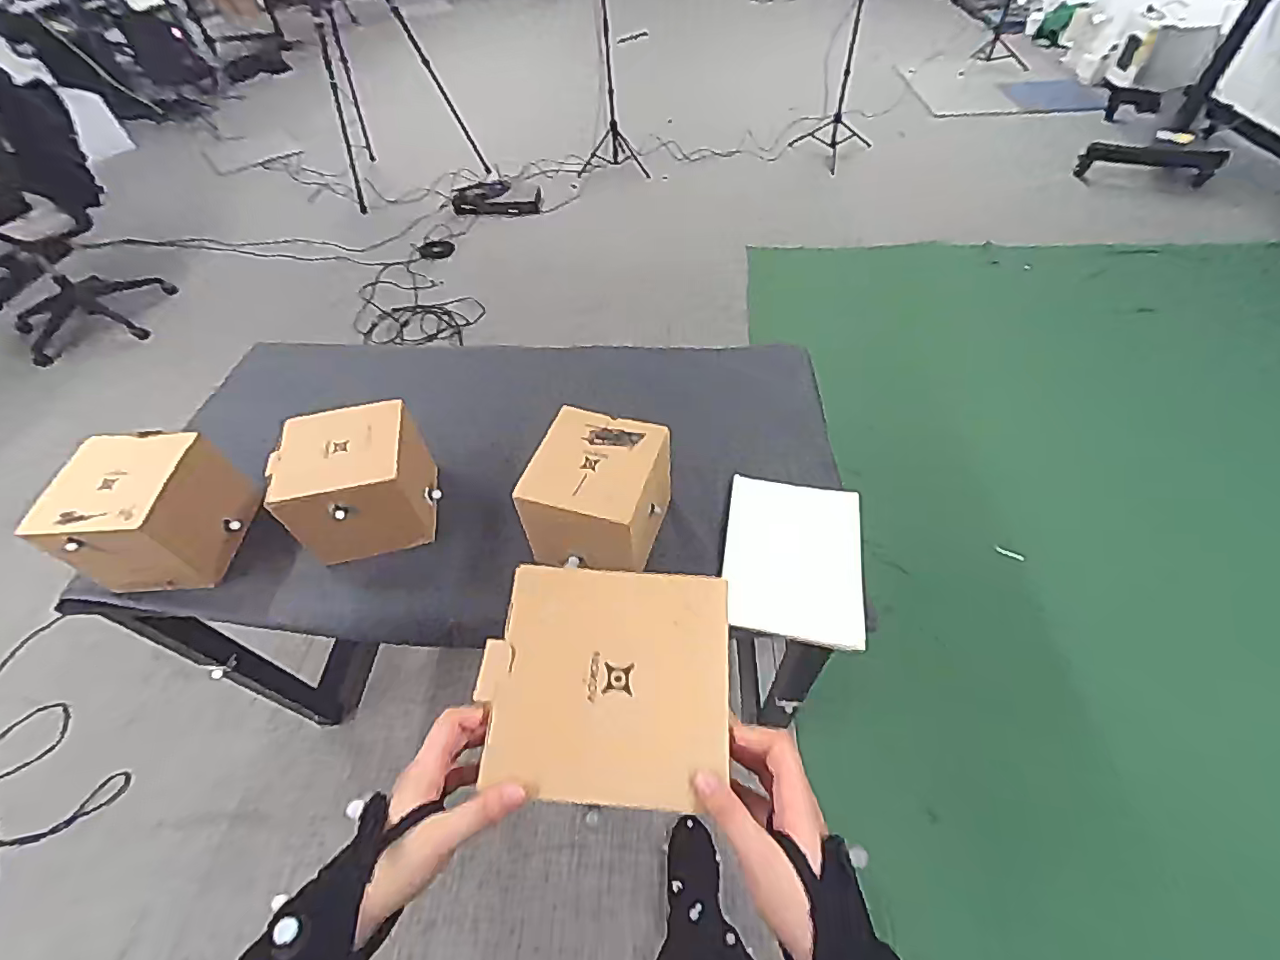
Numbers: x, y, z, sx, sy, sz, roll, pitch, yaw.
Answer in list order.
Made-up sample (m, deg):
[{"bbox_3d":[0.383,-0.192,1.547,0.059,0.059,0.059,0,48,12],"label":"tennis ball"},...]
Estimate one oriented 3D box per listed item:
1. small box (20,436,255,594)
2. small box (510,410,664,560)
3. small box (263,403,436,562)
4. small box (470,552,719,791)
[{"bbox_3d":[-0.735,0.055,0.823,0.168,0.176,0.179,-3,51,1],"label":"small box"},{"bbox_3d":[-0.066,0.027,0.800,0.168,0.176,0.179,12,53,14],"label":"small box"},{"bbox_3d":[-0.436,0.009,0.844,0.179,0.176,0.168,-11,52,-7],"label":"small box"},{"bbox_3d":[-0.027,0.173,0.482,0.179,0.176,0.168,2,62,3],"label":"small box"}]
